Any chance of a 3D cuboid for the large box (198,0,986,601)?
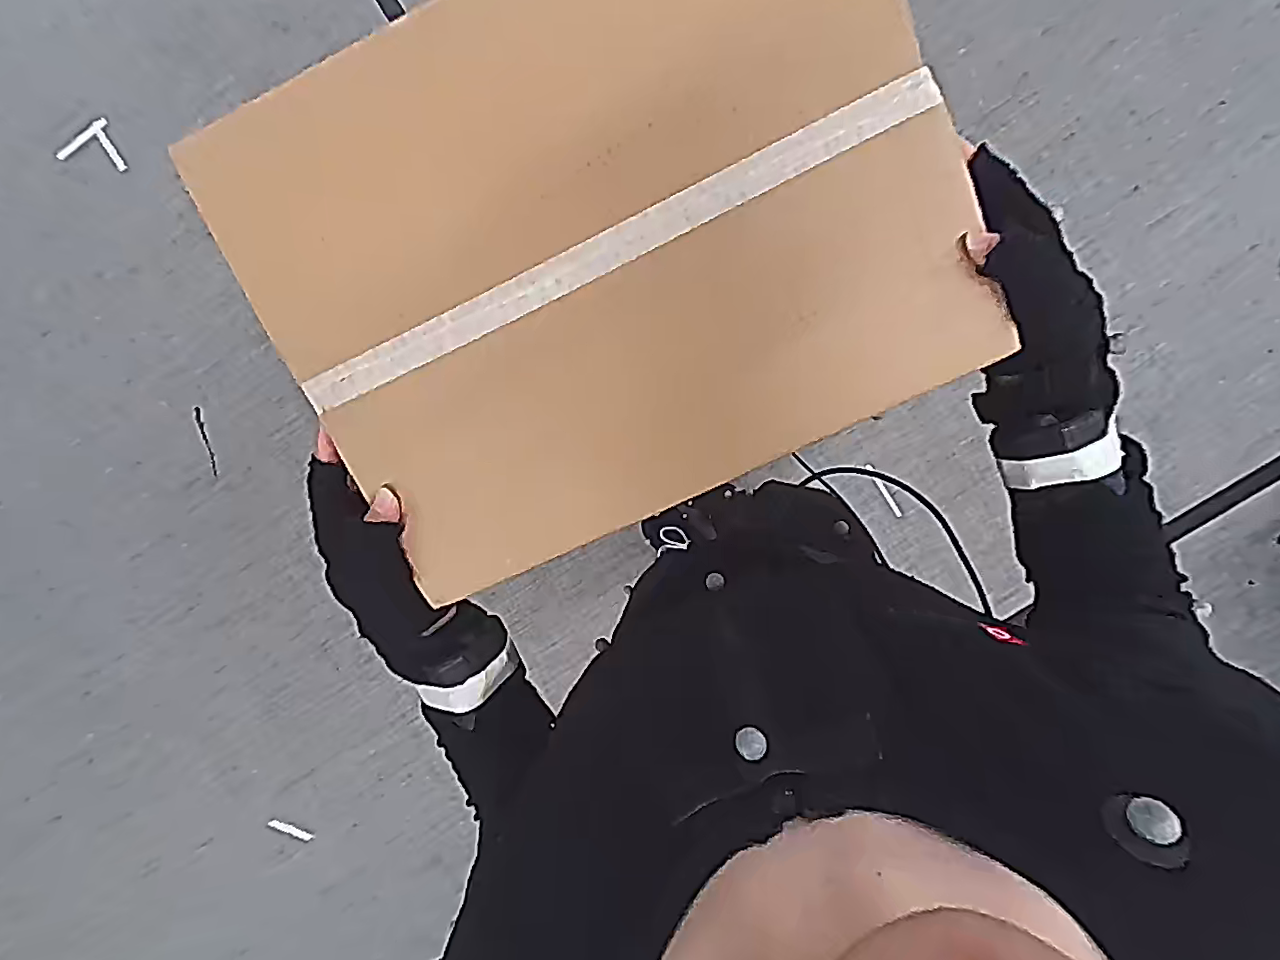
[{"bbox_3d":[-0.021,-0.163,0.473,0.408,0.320,0.320,-24,100,6],"label":"large box"}]
